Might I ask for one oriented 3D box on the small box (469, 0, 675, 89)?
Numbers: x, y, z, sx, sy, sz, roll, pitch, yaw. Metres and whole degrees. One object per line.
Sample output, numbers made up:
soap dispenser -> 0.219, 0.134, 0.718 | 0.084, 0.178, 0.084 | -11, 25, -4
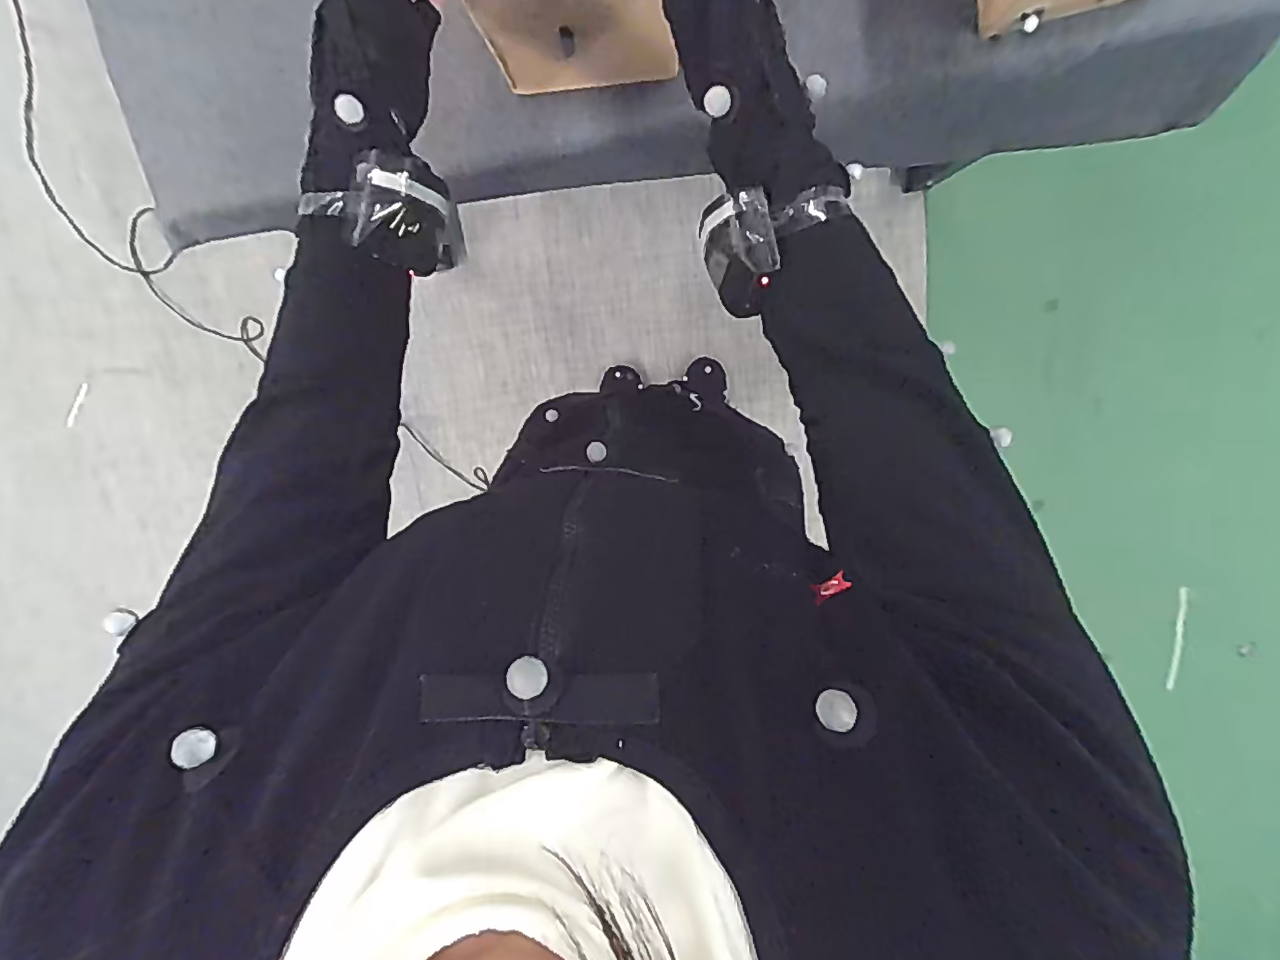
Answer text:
small box -> -0.059, -0.486, 0.487 | 0.179, 0.176, 0.168 | -4, 103, 4

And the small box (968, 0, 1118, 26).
small box -> 0.396, -0.529, 0.454 | 0.168, 0.176, 0.179 | -11, 102, 6
